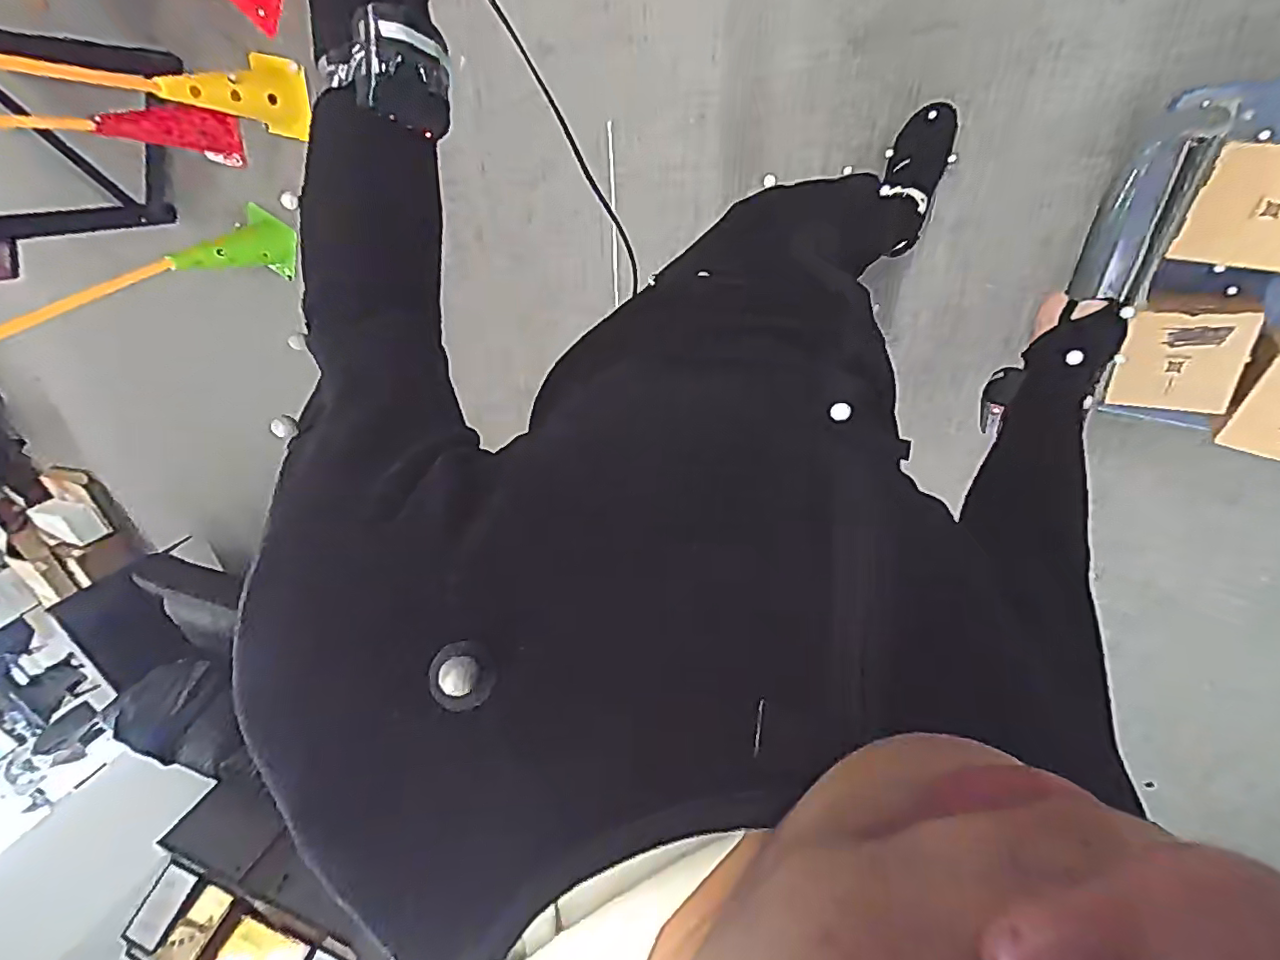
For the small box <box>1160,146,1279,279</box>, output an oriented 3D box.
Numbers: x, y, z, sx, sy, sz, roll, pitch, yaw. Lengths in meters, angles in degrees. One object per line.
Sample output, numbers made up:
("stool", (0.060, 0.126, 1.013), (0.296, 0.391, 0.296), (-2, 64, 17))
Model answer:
("small box", (0.991, -0.434, 0.867), (0.179, 0.176, 0.168), (26, 131, 31))
